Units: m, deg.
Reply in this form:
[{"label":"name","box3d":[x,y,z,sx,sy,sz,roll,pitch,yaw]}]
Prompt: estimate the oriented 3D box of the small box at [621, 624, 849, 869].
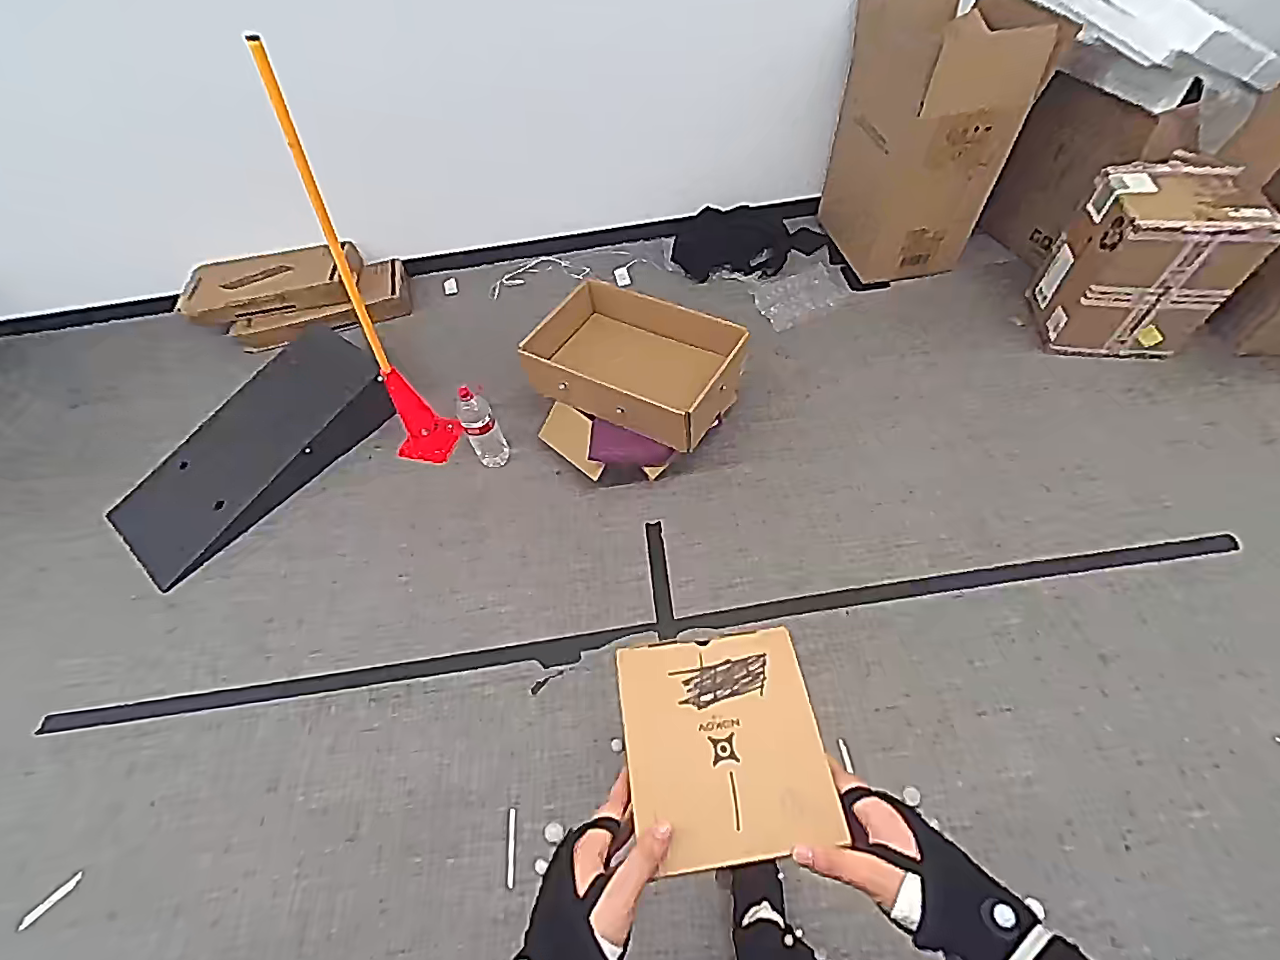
[{"label":"small box","box3d":[0.070,0.260,0.524,0.168,0.176,0.179,-6,55,-5]}]
